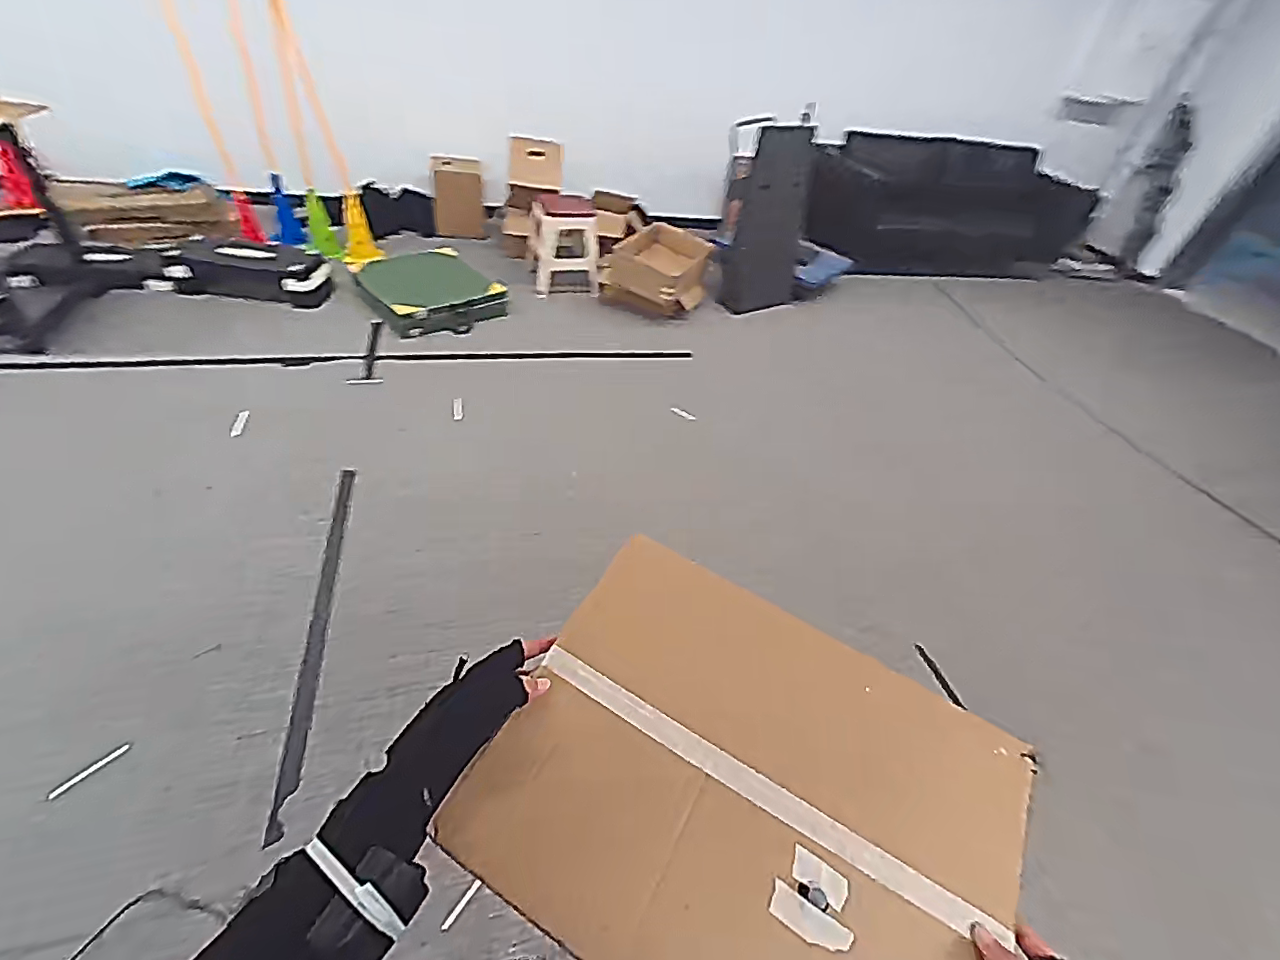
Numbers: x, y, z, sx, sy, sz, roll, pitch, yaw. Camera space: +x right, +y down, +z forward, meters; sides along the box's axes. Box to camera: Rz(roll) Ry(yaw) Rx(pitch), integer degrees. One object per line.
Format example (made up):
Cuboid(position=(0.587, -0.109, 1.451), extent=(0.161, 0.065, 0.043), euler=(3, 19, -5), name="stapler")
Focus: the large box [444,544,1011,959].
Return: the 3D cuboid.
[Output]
Cuboid(position=(0.077, 0.341, 0.568), extent=(0.408, 0.320, 0.320), euler=(27, 55, 14), name="large box")
